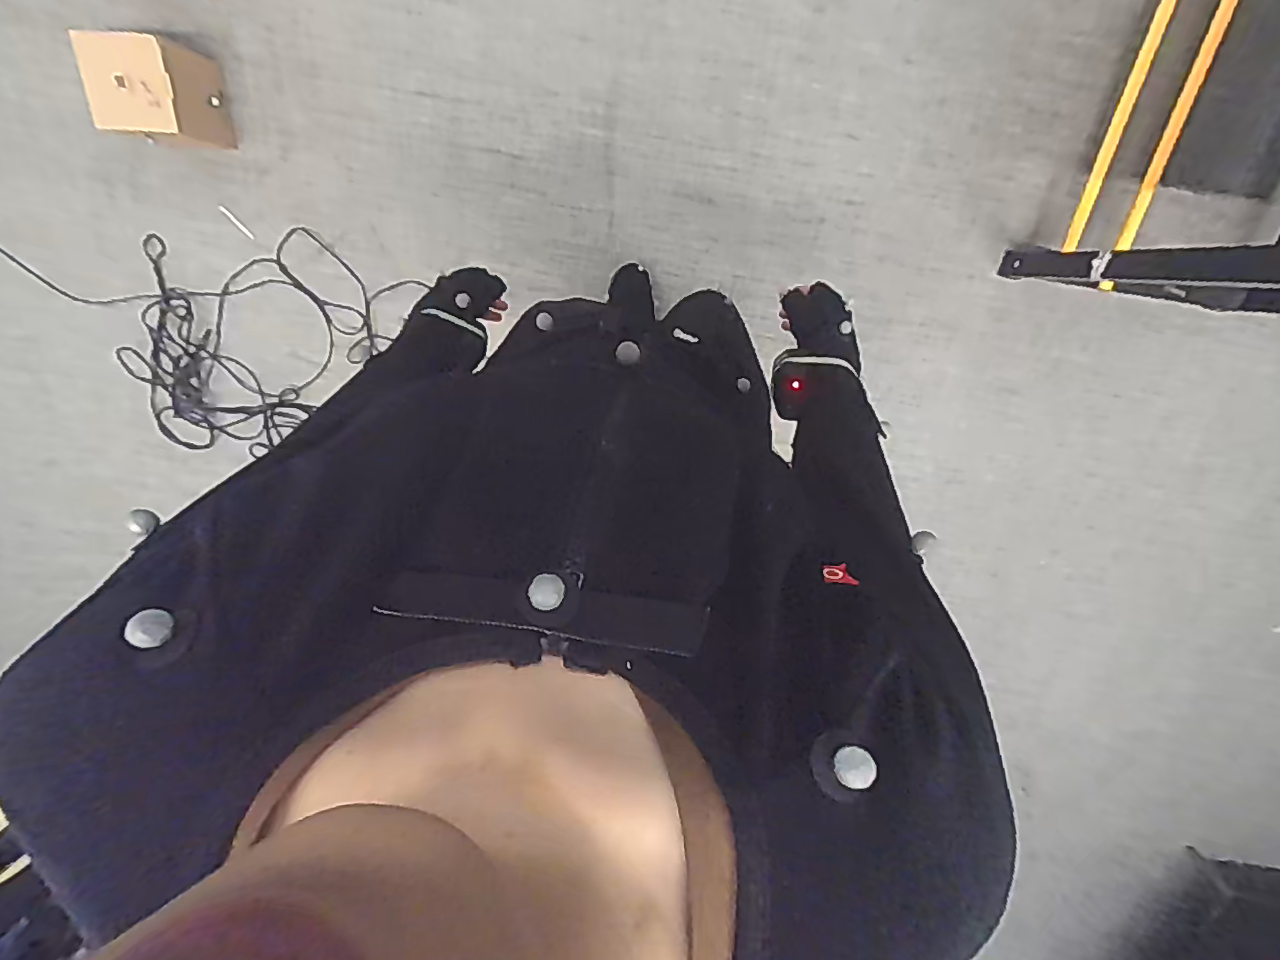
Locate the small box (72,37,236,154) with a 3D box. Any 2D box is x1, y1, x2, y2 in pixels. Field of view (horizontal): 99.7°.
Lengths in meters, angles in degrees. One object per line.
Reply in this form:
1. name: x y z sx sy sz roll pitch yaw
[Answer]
1. small box: -1.013 -0.802 1.145 0.179 0.176 0.168 3 112 0
